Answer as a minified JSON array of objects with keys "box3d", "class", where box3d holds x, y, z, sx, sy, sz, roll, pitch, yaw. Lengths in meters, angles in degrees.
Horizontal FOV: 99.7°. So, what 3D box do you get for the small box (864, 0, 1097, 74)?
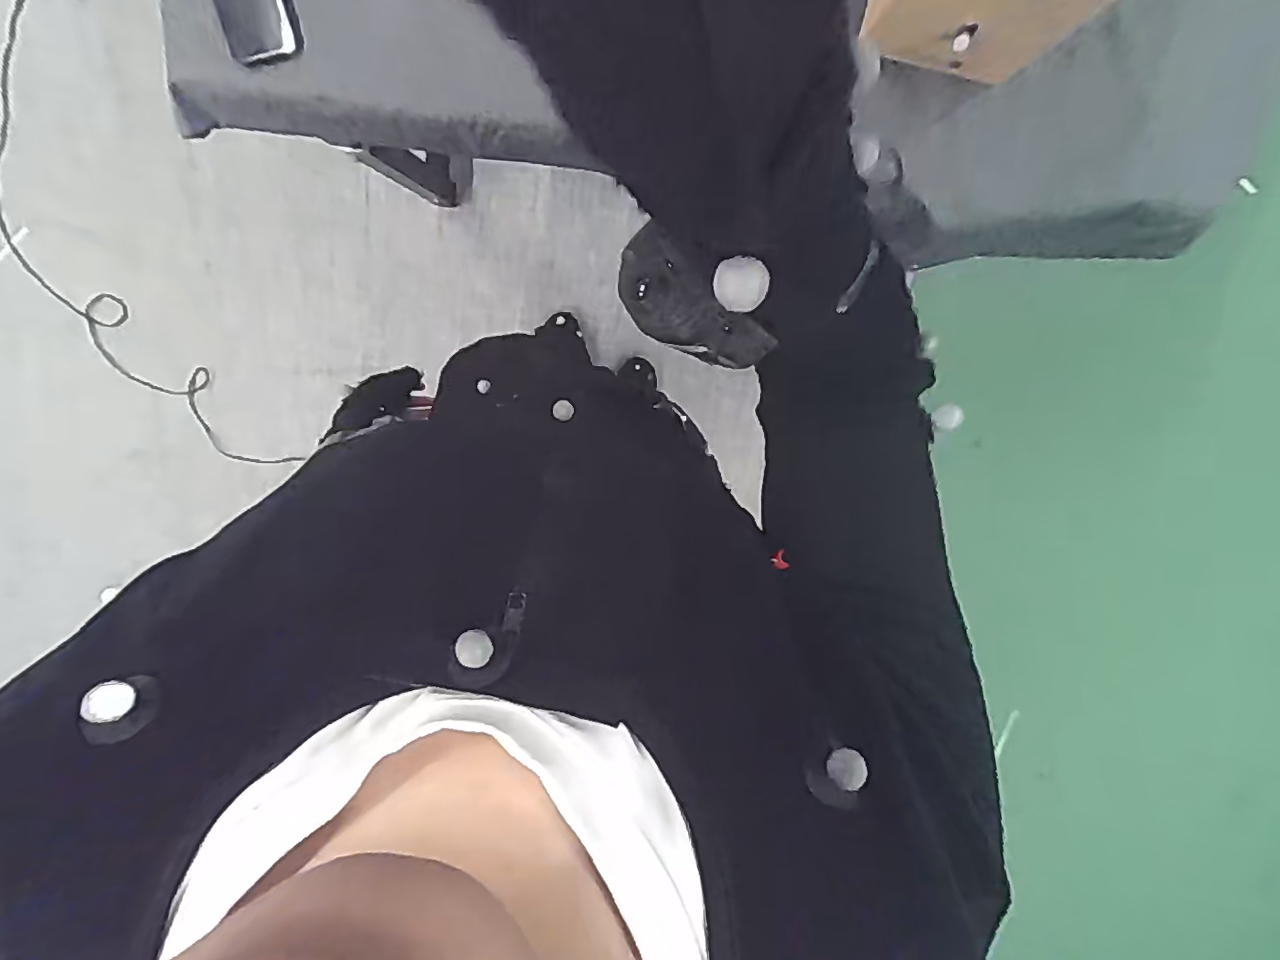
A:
[{"box3d":[0.331,-0.519,0.498,0.168,0.176,0.179,12,106,-2],"class":"small box"}]
